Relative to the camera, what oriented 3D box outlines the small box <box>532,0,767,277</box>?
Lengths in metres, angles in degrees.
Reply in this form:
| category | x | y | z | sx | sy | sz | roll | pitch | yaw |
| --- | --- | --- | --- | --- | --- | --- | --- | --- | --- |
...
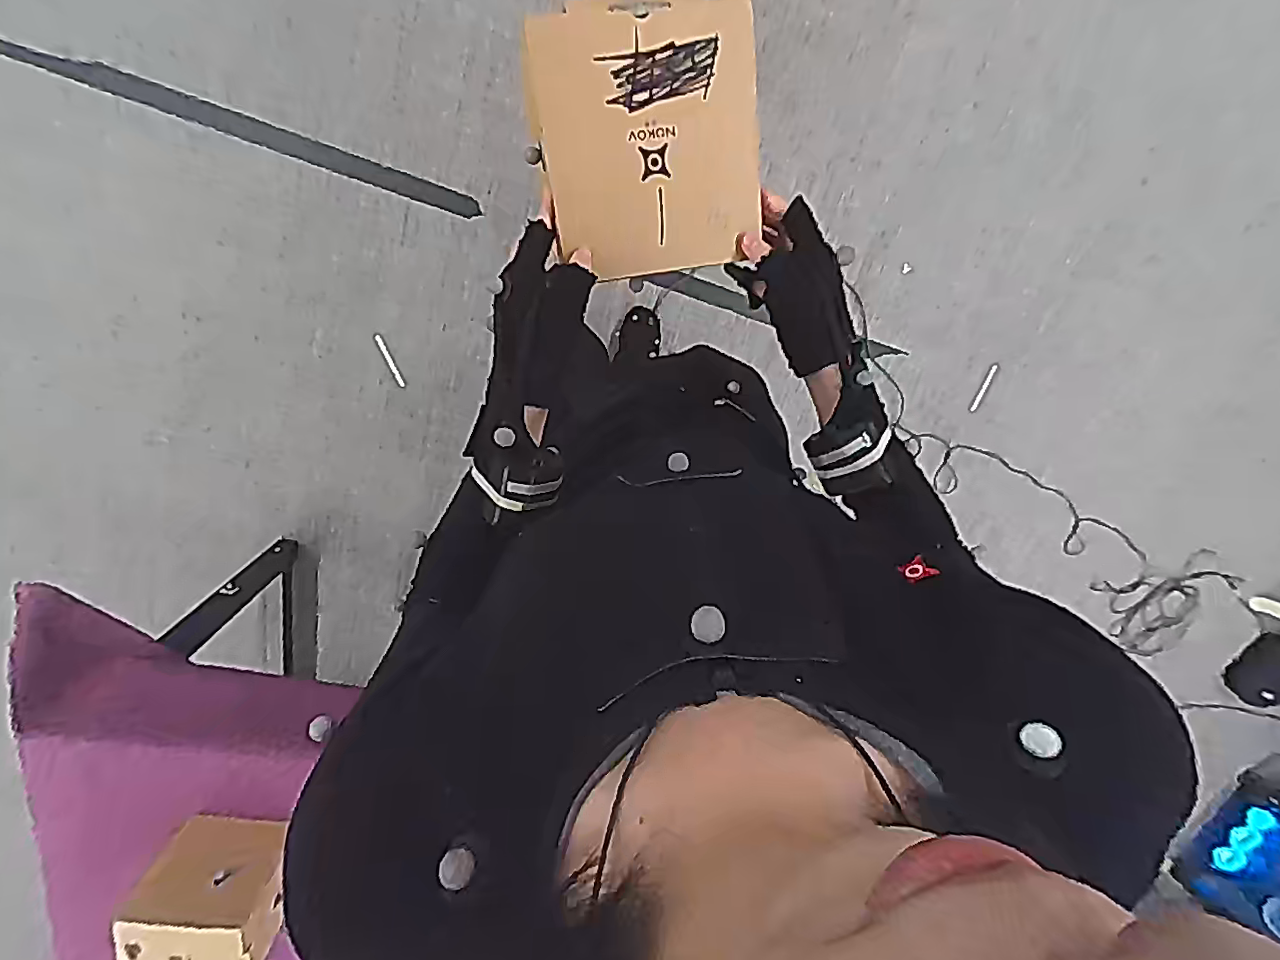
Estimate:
| category | x | y | z | sx | sy | sz | roll | pitch | yaw |
| --- | --- | --- | --- | --- | --- | --- | --- | --- | --- |
| small box | 0.000 | -0.282 | 0.477 | 0.168 | 0.176 | 0.179 | -10 | 111 | -8 |

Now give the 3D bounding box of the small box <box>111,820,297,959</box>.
| category | x | y | z | sx | sy | sz | roll | pitch | yaw |
| --- | --- | --- | --- | --- | --- | --- | --- | --- | --- |
| small box | -0.681 | 0.682 | 0.869 | 0.179 | 0.176 | 0.168 | 10 | 108 | -9 |

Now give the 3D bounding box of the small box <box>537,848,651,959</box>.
| category | x | y | z | sx | sy | sz | roll | pitch | yaw |
| --- | --- | --- | --- | --- | --- | --- | --- | --- | --- |
| small box | -0.087 | 0.787 | 0.957 | 0.179 | 0.176 | 0.168 | 7 | 110 | -8 |
